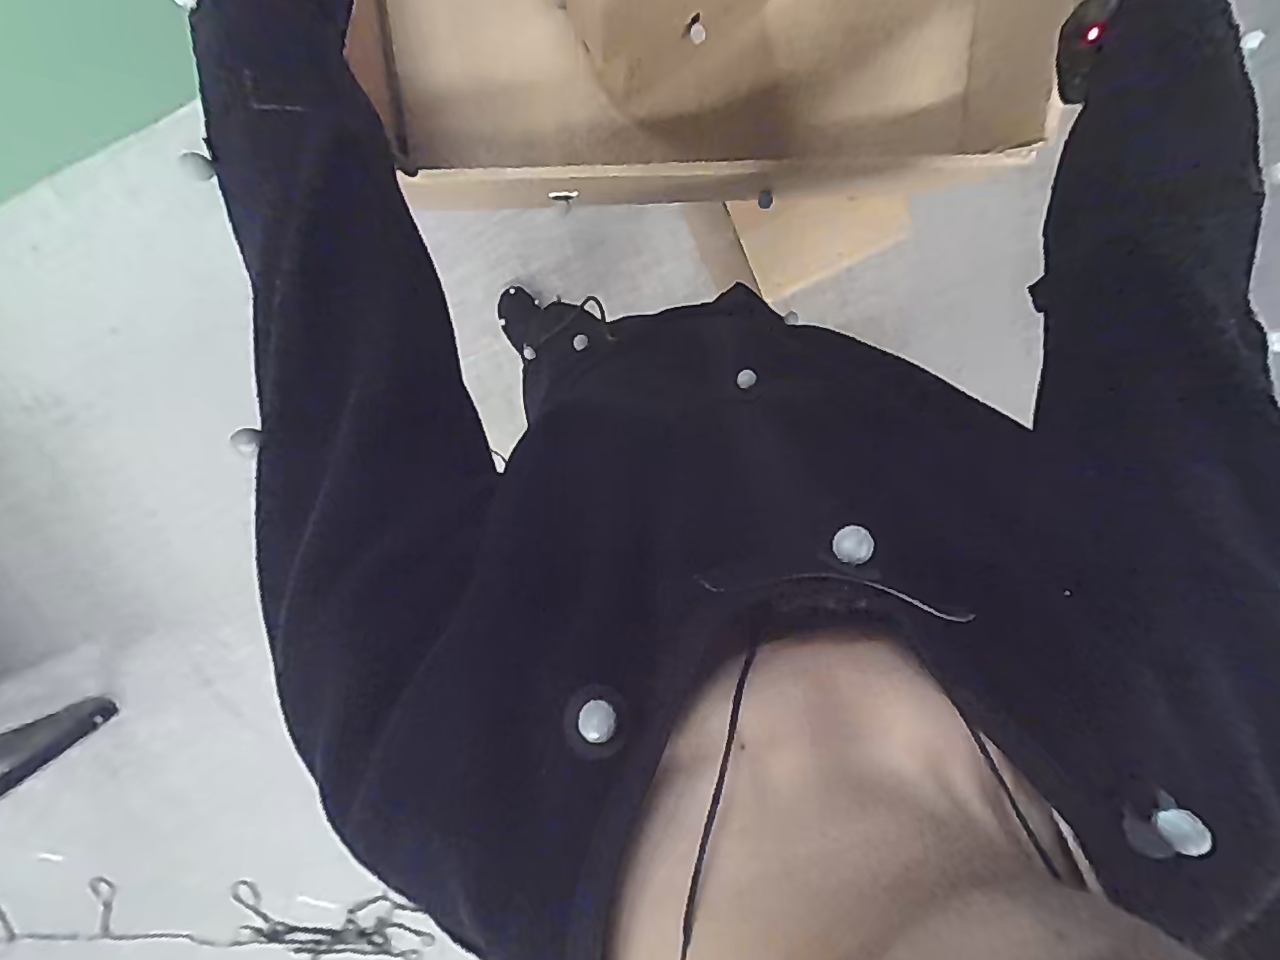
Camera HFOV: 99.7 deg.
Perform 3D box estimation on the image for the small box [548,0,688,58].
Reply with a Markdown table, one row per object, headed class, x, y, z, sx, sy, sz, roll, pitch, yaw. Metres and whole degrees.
| class | x | y | z | sx | sy | sz | roll | pitch | yaw |
| --- | --- | --- | --- | --- | --- | --- | --- | --- | --- |
| small box | -0.002 | -0.390 | 0.294 | 0.179 | 0.176 | 0.168 | -31 | 106 | 6 |
